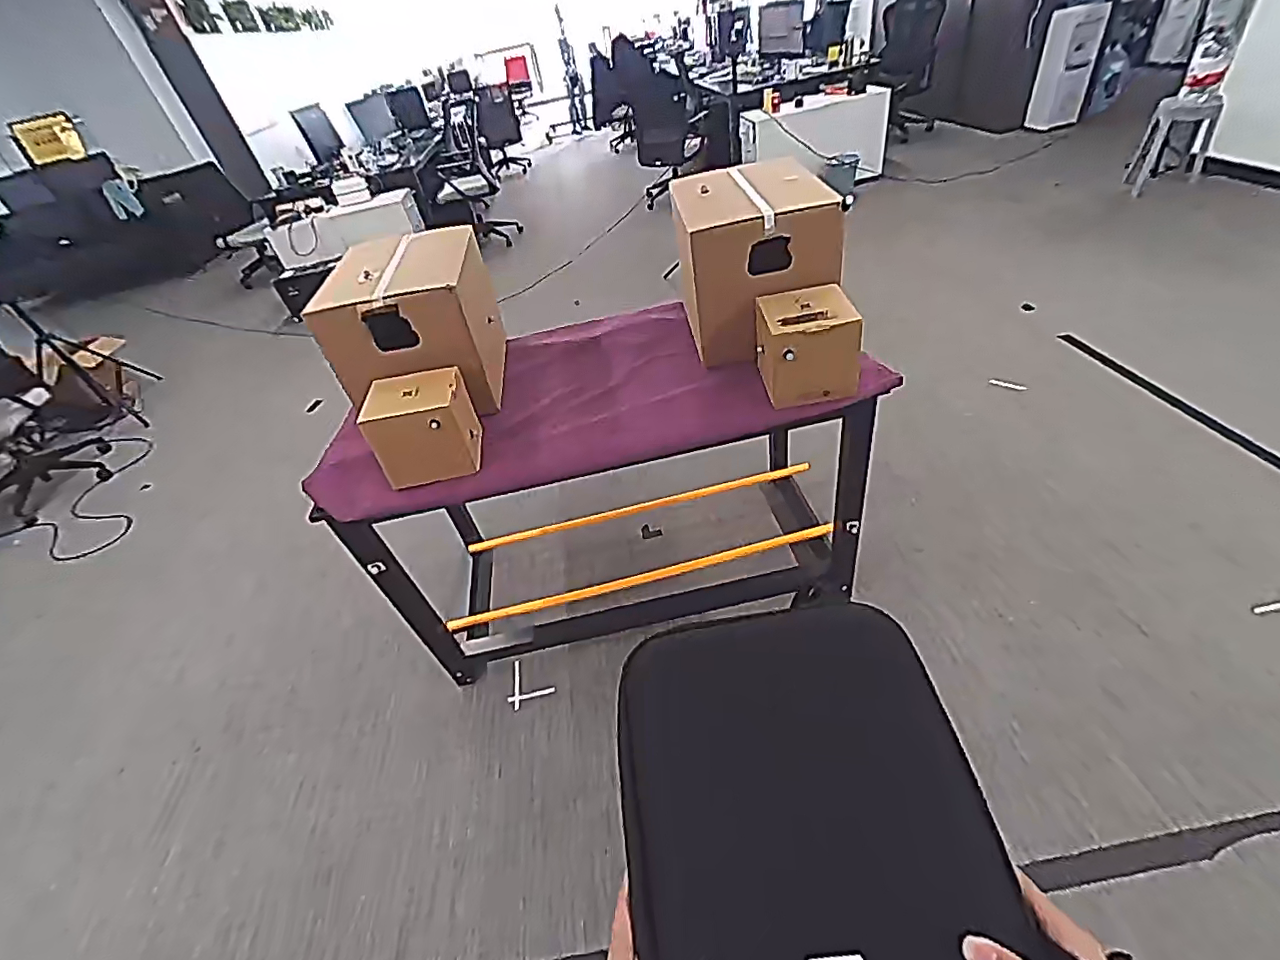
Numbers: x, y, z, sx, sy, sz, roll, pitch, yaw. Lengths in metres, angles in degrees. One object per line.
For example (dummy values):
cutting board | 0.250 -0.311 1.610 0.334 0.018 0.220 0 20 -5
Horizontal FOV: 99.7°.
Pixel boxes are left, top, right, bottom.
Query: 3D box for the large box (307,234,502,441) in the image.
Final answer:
large box | -0.531 -0.356 1.321 0.320 0.320 0.408 -12 43 -1
